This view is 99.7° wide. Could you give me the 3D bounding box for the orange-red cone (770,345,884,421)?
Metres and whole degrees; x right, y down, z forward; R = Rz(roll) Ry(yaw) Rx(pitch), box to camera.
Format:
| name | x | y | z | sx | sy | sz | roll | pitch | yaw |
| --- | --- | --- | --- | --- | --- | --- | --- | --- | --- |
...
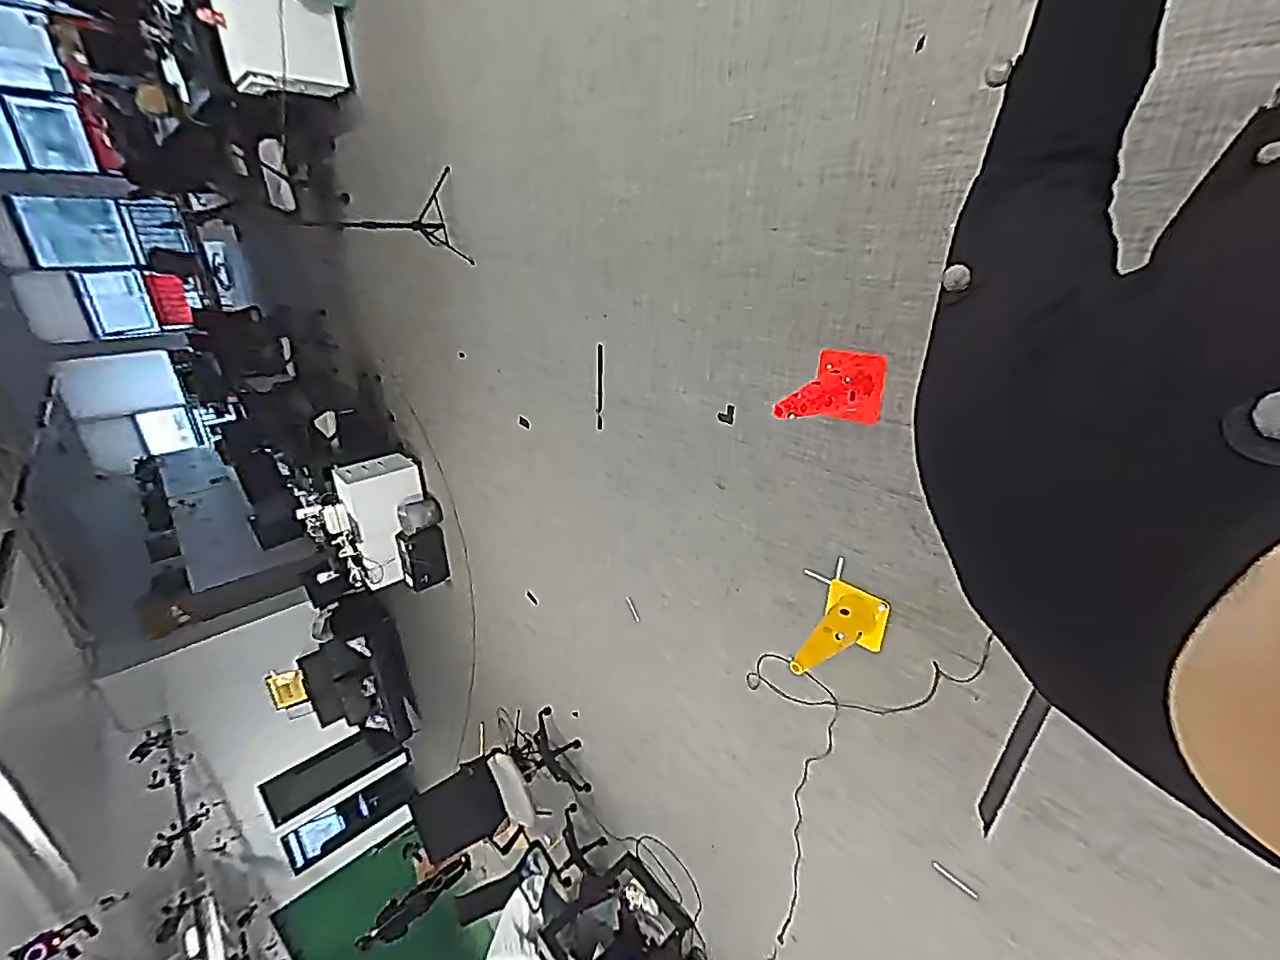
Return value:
| name | x | y | z | sx | sy | sz | roll | pitch | yaw |
| --- | --- | --- | --- | --- | --- | --- | --- | --- | --- |
| orange-red cone | 0.474 | -0.230 | 1.462 | 0.198 | 0.360 | 0.199 | 24 | 125 | 43 |
